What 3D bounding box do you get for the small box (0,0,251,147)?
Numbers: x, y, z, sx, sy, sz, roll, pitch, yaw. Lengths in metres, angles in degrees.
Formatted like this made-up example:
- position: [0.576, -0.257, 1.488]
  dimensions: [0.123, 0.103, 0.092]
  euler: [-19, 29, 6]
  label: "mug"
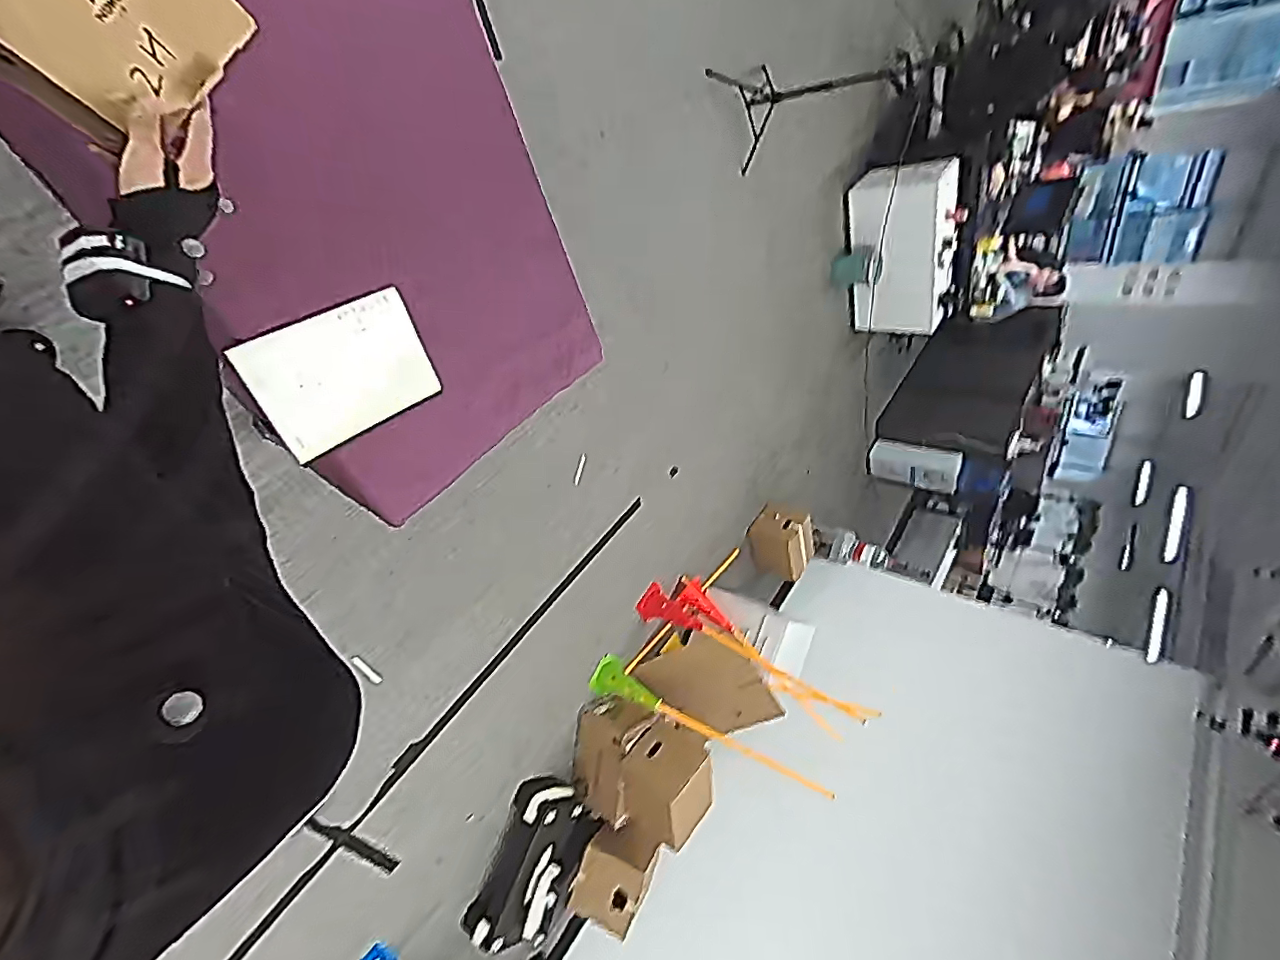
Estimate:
- position: [-0.504, -0.429, 0.474]
  dimensions: [0.168, 0.176, 0.179]
  euler: [-60, 149, -6]
  label: "small box"
